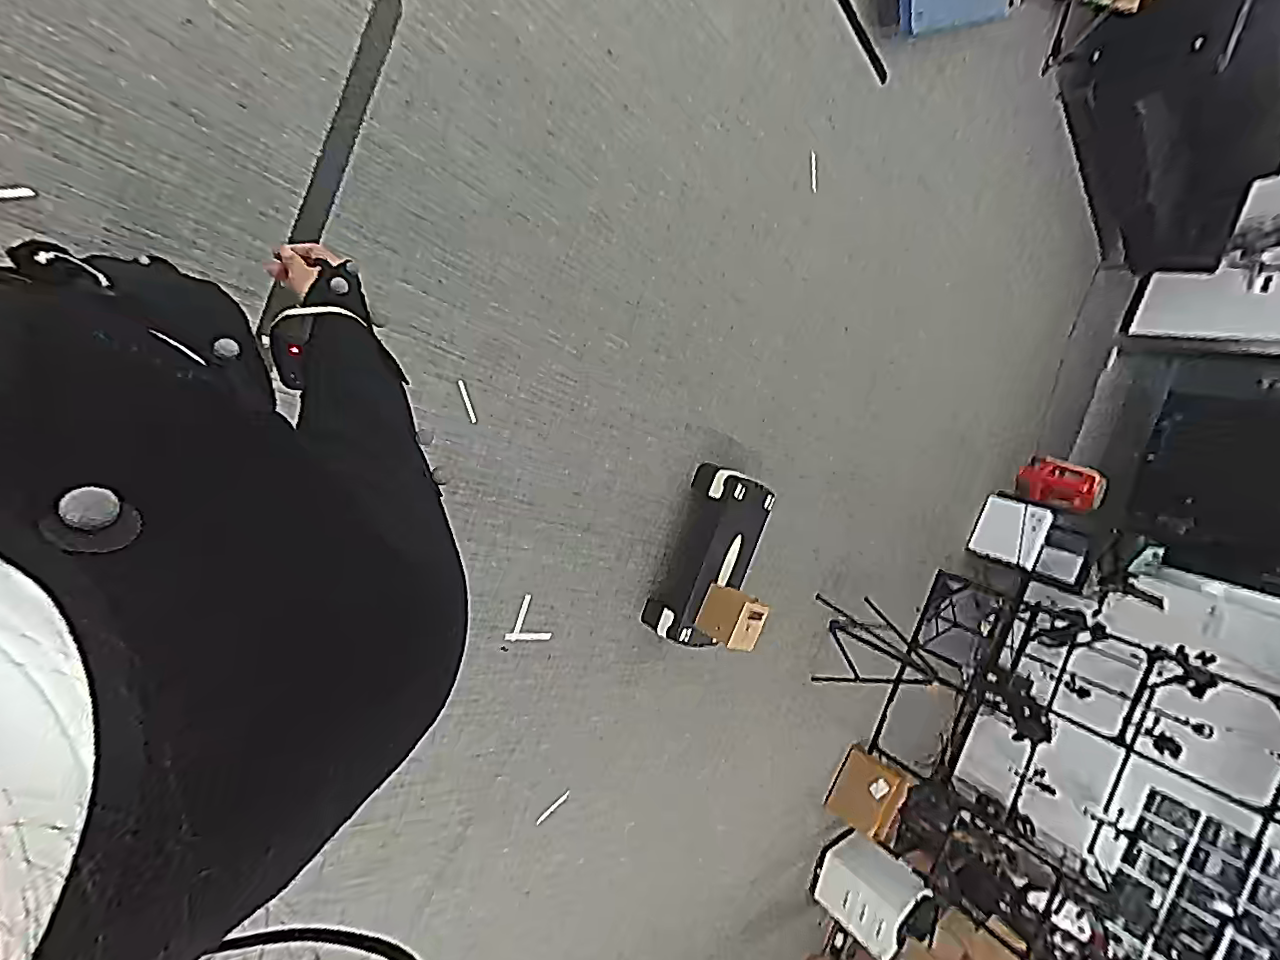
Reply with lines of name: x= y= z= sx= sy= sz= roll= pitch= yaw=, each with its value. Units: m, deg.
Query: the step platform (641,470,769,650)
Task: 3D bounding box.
step platform: x=0.265 y=0.317 z=2.113 sx=0.286 sy=0.204 sz=0.684 roll=19 pitch=92 yaw=-44
